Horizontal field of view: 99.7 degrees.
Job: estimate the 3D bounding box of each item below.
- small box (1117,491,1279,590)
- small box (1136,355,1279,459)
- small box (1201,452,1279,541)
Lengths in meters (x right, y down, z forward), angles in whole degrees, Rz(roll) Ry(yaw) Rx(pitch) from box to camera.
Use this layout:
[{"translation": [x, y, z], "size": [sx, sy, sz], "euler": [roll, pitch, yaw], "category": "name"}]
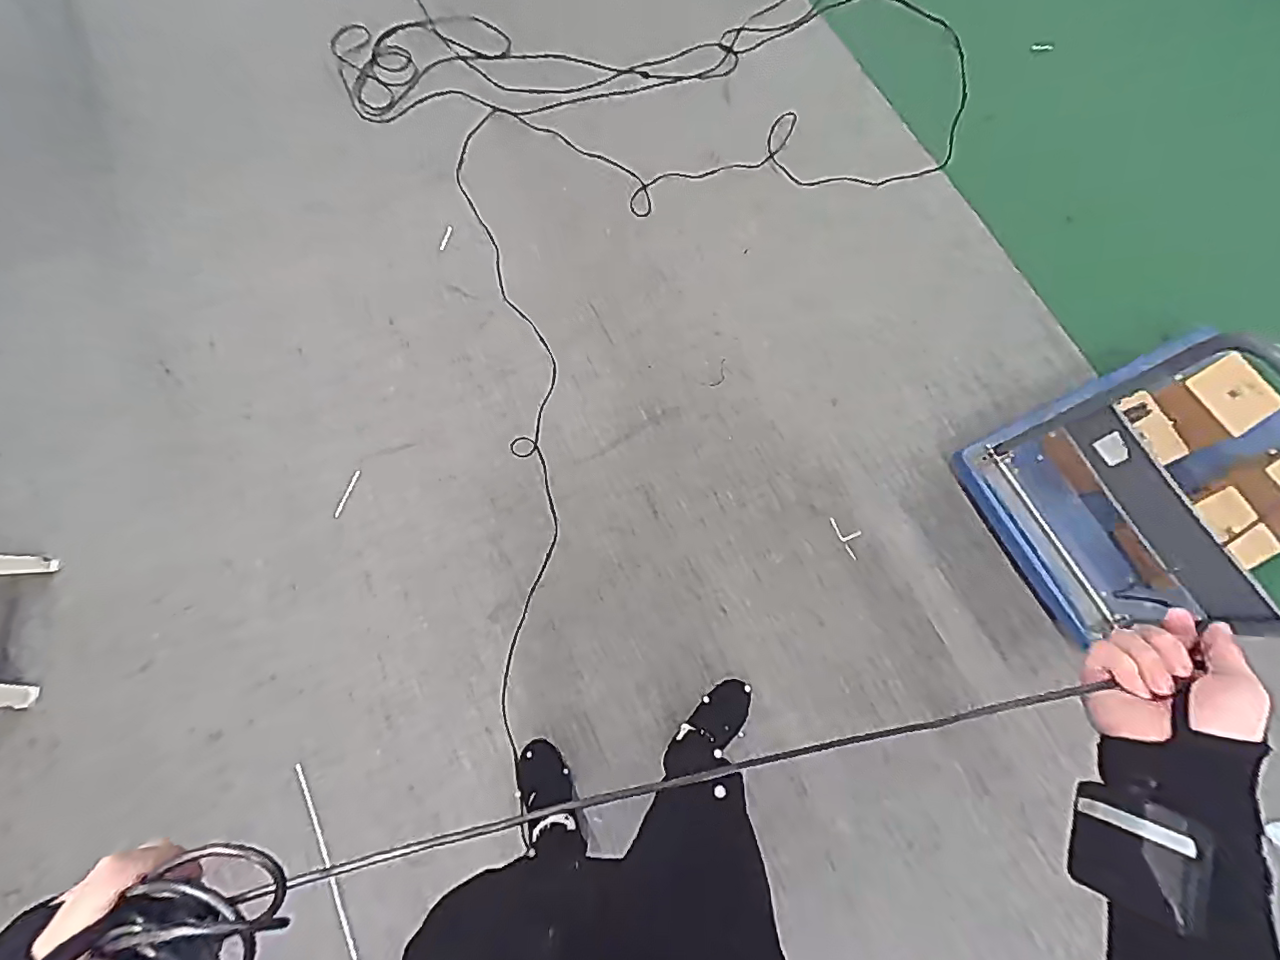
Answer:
[{"translation": [1.294, 0.146, 1.265], "size": [0.179, 0.176, 0.168], "euler": [-24, 76, -6], "category": "small box"}, {"translation": [1.414, -0.175, 1.358], "size": [0.179, 0.176, 0.168], "euler": [-28, 77, -8], "category": "small box"}, {"translation": [1.538, 0.035, 1.298], "size": [0.179, 0.176, 0.168], "euler": [-28, 75, -7], "category": "small box"}]
